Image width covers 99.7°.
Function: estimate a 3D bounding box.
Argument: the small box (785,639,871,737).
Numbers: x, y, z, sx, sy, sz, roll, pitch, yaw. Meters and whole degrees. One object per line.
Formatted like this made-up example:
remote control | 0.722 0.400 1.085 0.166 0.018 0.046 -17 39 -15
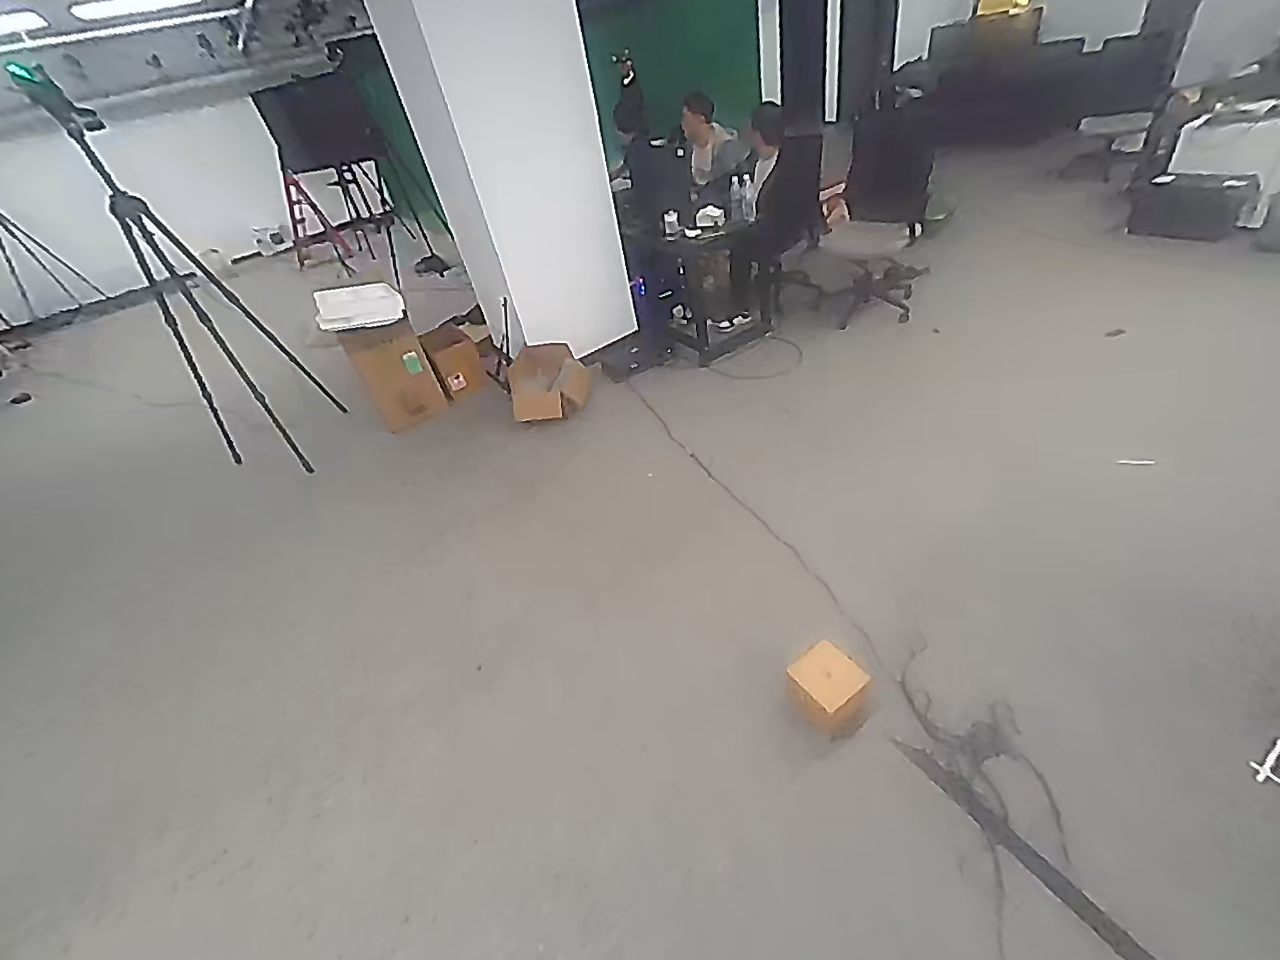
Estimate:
small box | 0.552 0.618 1.602 0.168 0.176 0.179 -30 41 -18
